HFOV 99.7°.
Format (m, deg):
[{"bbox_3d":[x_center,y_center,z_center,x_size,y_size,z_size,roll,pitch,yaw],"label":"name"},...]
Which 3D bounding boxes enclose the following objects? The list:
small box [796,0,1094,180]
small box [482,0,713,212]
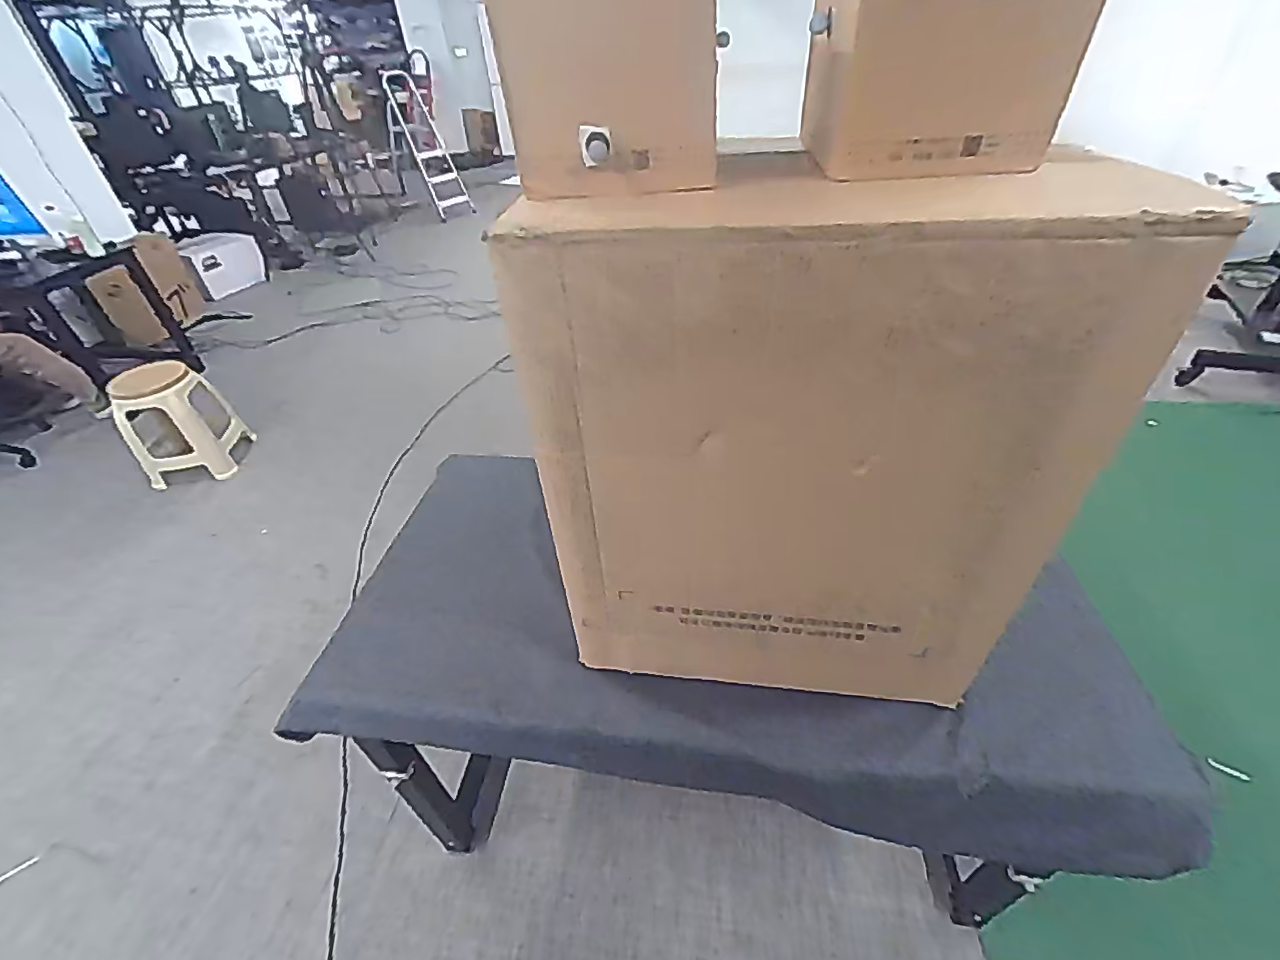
[{"bbox_3d":[0.231,-0.360,0.447,0.168,0.176,0.179,-1,41,6],"label":"small box"},{"bbox_3d":[-0.023,-0.349,0.468,0.168,0.176,0.179,-3,43,7],"label":"small box"}]
